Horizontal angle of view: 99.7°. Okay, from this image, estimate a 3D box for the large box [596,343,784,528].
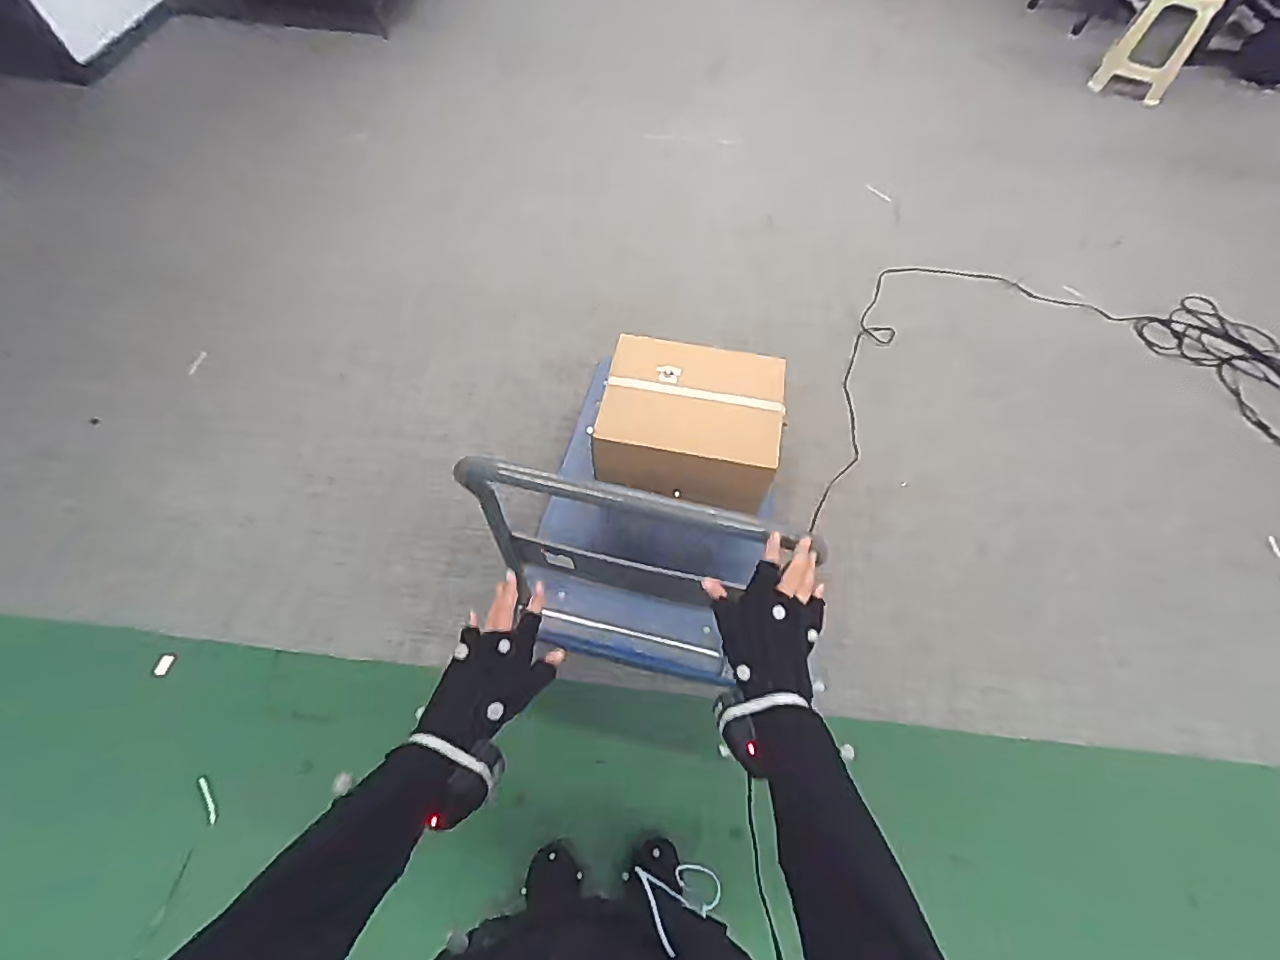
[{"bbox_3d":[0.124,-0.103,1.363,0.408,0.320,0.320,10,59,5],"label":"large box"}]
